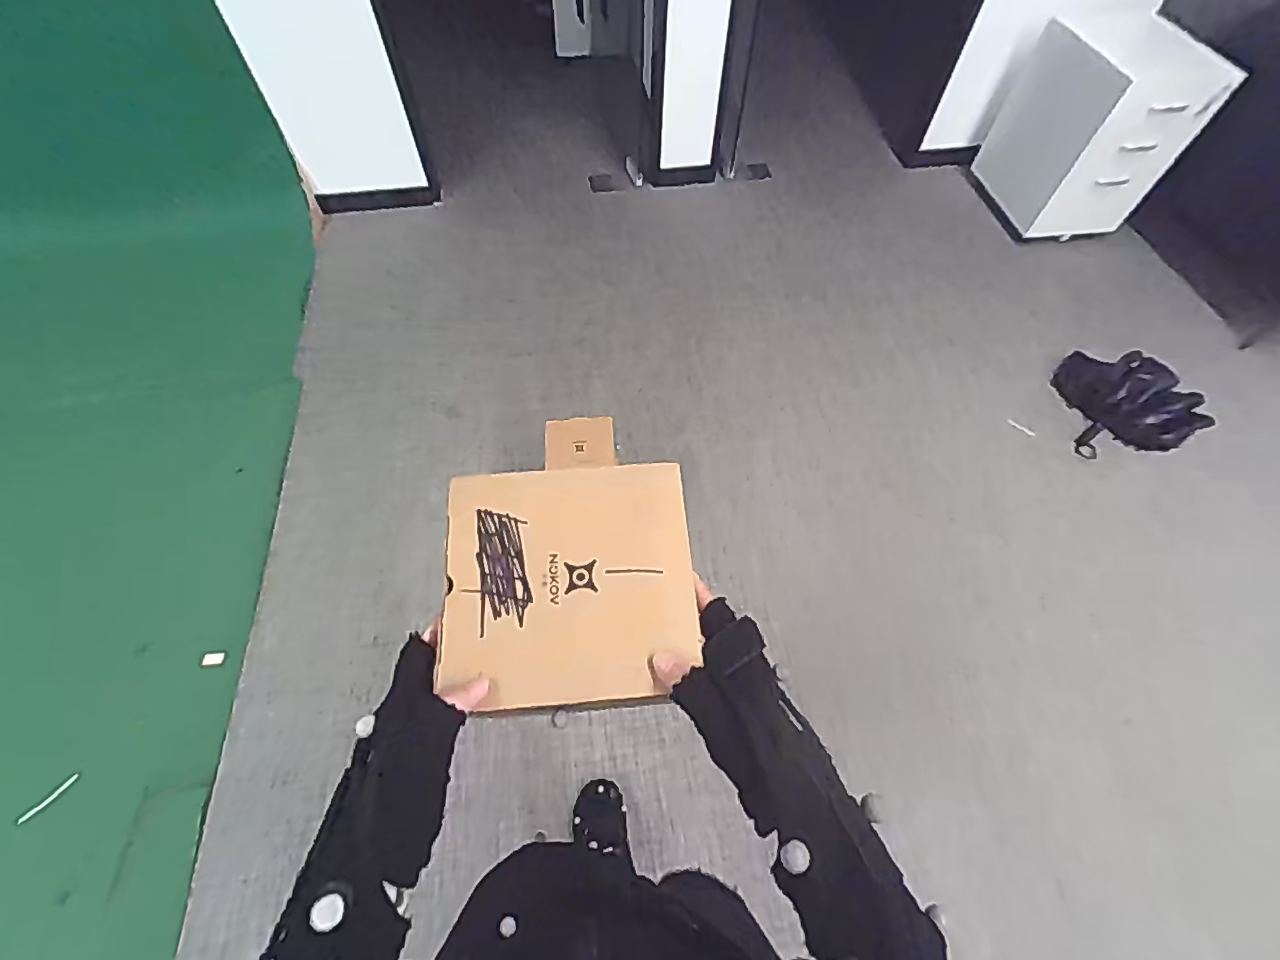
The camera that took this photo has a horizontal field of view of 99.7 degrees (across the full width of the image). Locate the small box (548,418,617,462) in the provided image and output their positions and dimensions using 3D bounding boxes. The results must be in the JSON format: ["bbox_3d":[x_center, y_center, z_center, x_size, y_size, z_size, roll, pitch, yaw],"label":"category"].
[{"bbox_3d":[-0.139,-0.033,1.362,0.168,0.176,0.179,-5,60,-2],"label":"small box"}]

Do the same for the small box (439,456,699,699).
[{"bbox_3d":[-0.051,0.092,0.461,0.179,0.176,0.168,-3,67,-3],"label":"small box"}]
